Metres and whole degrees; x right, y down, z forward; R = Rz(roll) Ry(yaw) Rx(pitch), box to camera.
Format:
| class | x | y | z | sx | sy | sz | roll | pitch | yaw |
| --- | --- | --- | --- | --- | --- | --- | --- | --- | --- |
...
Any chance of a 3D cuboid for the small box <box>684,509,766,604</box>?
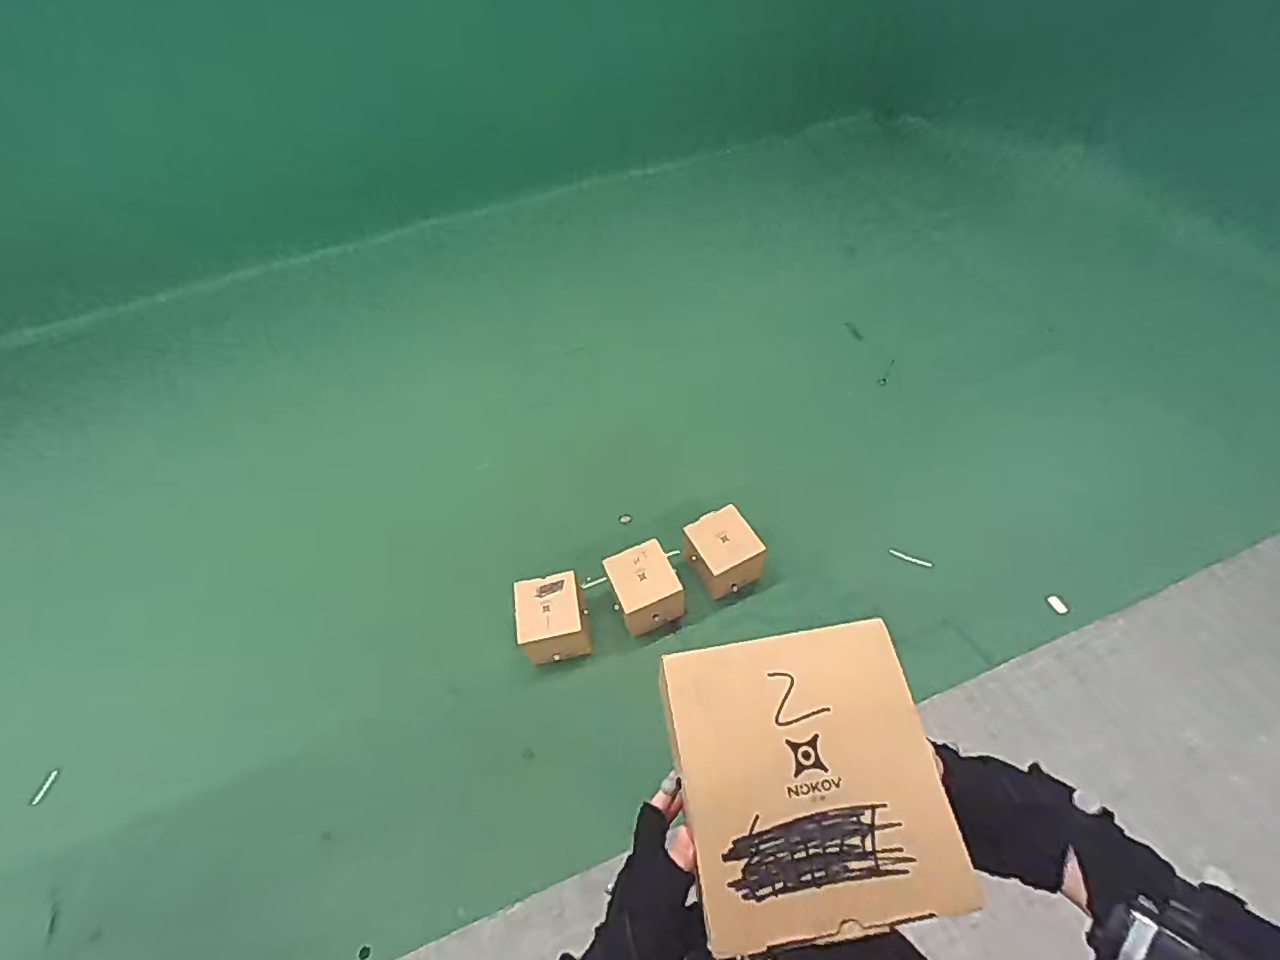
| class | x | y | z | sx | sy | sz | roll | pitch | yaw |
| --- | --- | --- | --- | --- | --- | --- | --- | --- | --- |
| small box | 0.234 | 0.221 | 1.545 | 0.168 | 0.176 | 0.179 | -24 | 54 | -13 |

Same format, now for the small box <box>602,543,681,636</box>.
| class | x | y | z | sx | sy | sz | roll | pitch | yaw |
| --- | --- | --- | --- | --- | --- | --- | --- | --- | --- |
| small box | 0.009 | 0.310 | 1.493 | 0.168 | 0.176 | 0.179 | -20 | 53 | -12 |

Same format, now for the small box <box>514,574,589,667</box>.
| class | x | y | z | sx | sy | sz | roll | pitch | yaw |
| --- | --- | --- | --- | --- | --- | --- | --- | --- | --- |
| small box | -0.238 | 0.381 | 1.460 | 0.168 | 0.176 | 0.179 | -11 | 53 | -3 |
